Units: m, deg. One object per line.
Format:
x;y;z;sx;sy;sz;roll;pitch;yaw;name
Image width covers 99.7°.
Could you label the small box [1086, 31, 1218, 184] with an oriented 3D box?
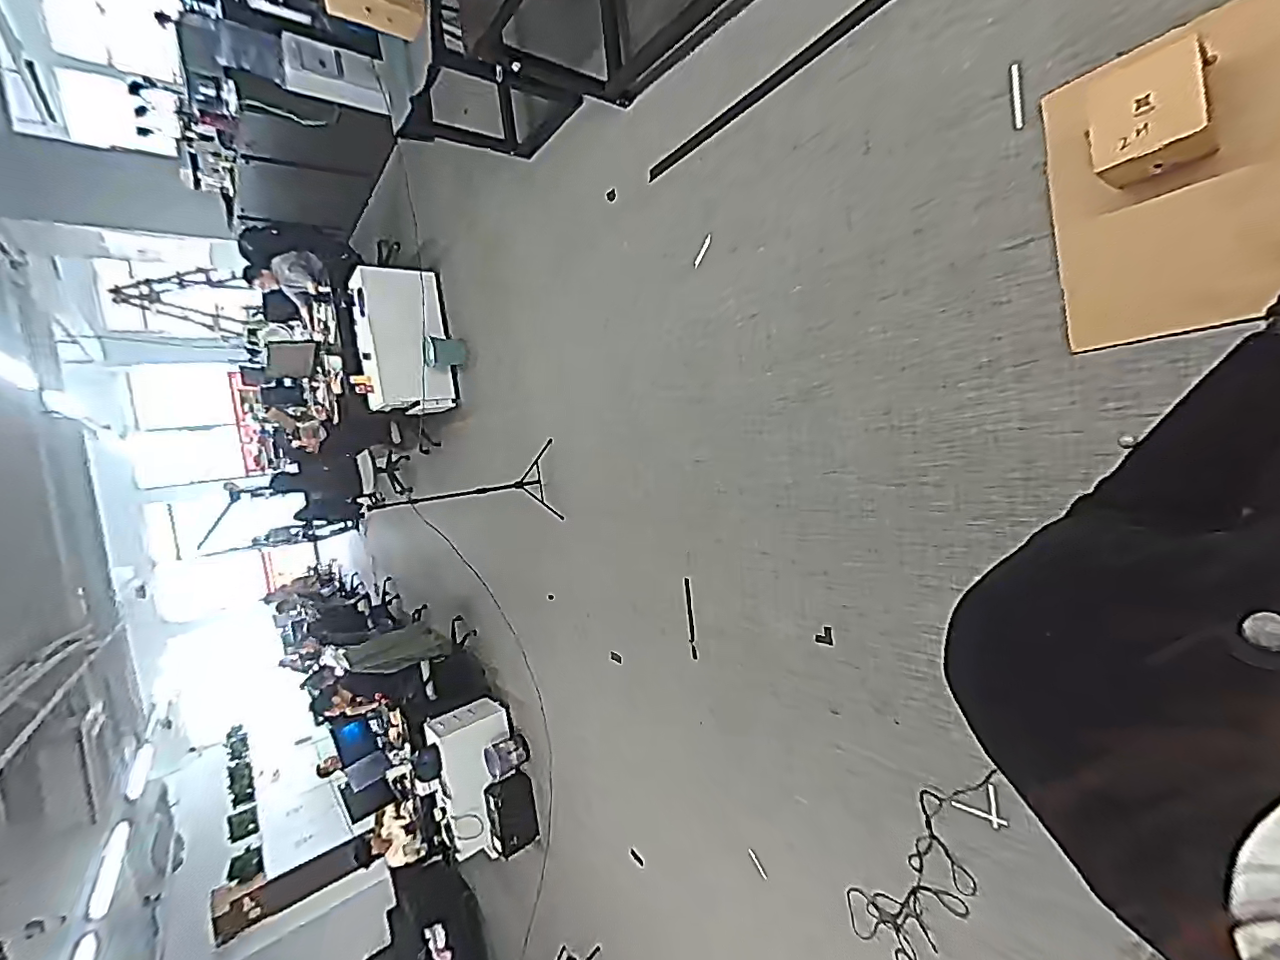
1.025;-0.728;1.083;0.168;0.176;0.179;-5;94;53;small box
